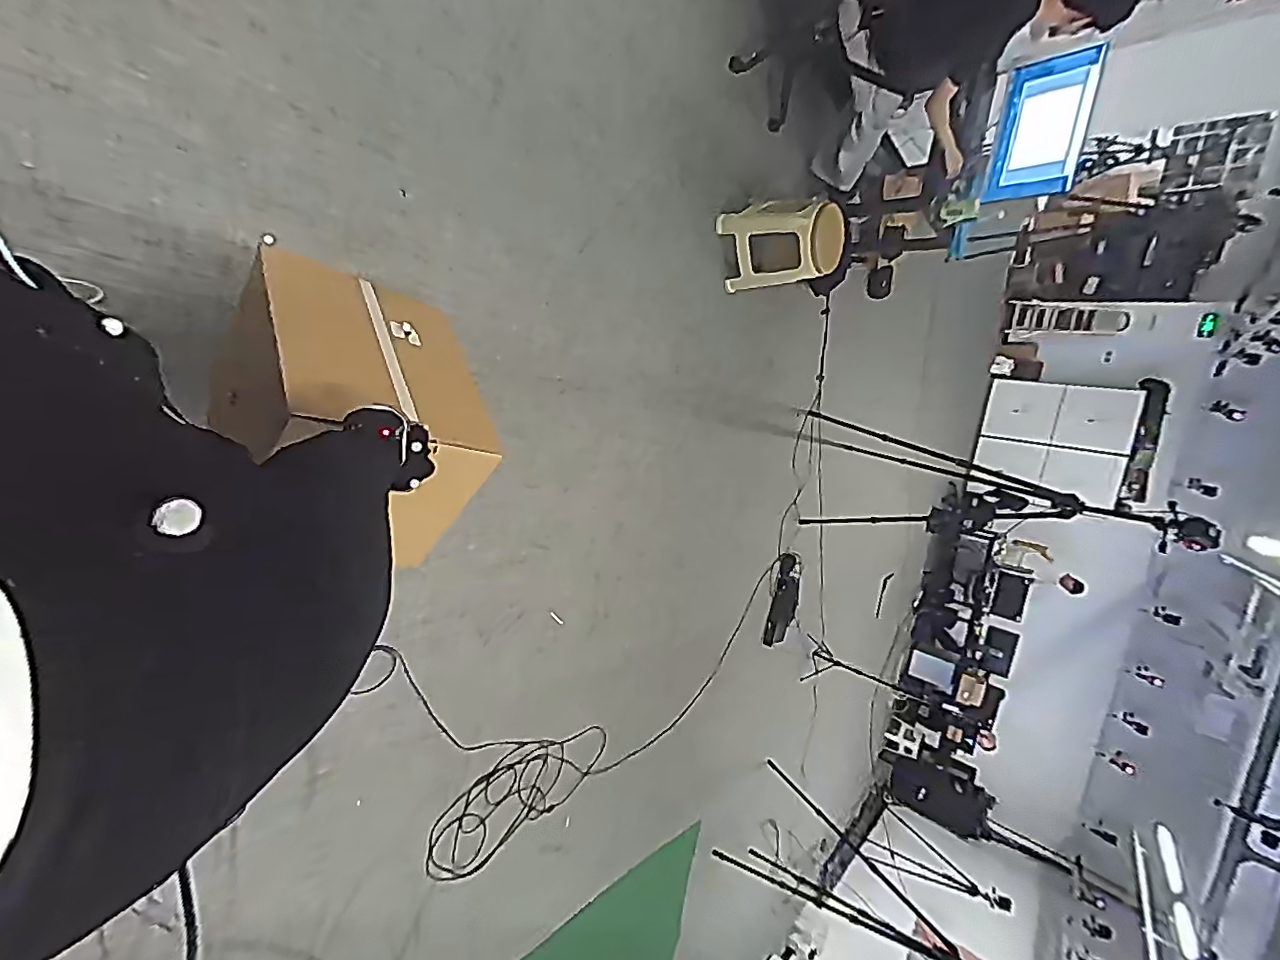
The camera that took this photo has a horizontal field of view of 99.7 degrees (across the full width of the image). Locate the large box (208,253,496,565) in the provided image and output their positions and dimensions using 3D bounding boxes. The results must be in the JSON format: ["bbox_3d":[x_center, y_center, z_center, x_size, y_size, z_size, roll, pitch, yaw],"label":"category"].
[{"bbox_3d":[-0.515,-0.102,0.940,0.320,0.408,0.320,11,128,-49],"label":"large box"}]
